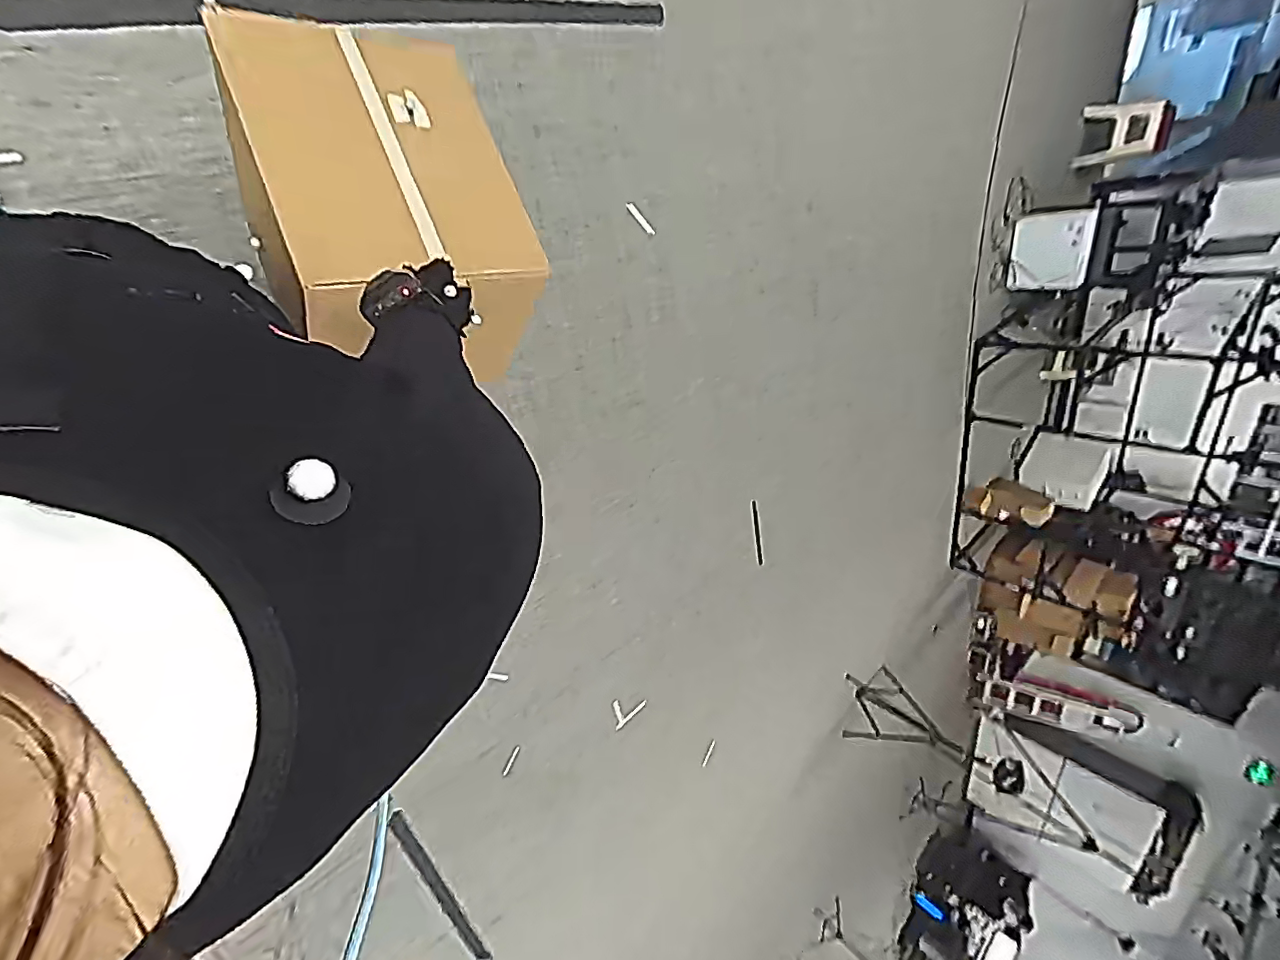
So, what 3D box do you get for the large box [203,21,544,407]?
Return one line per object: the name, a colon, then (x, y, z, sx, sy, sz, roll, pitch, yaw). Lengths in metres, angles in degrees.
large box: (-0.405, -0.381, 0.845, 0.320, 0.320, 0.408, -19, 80, -35)
